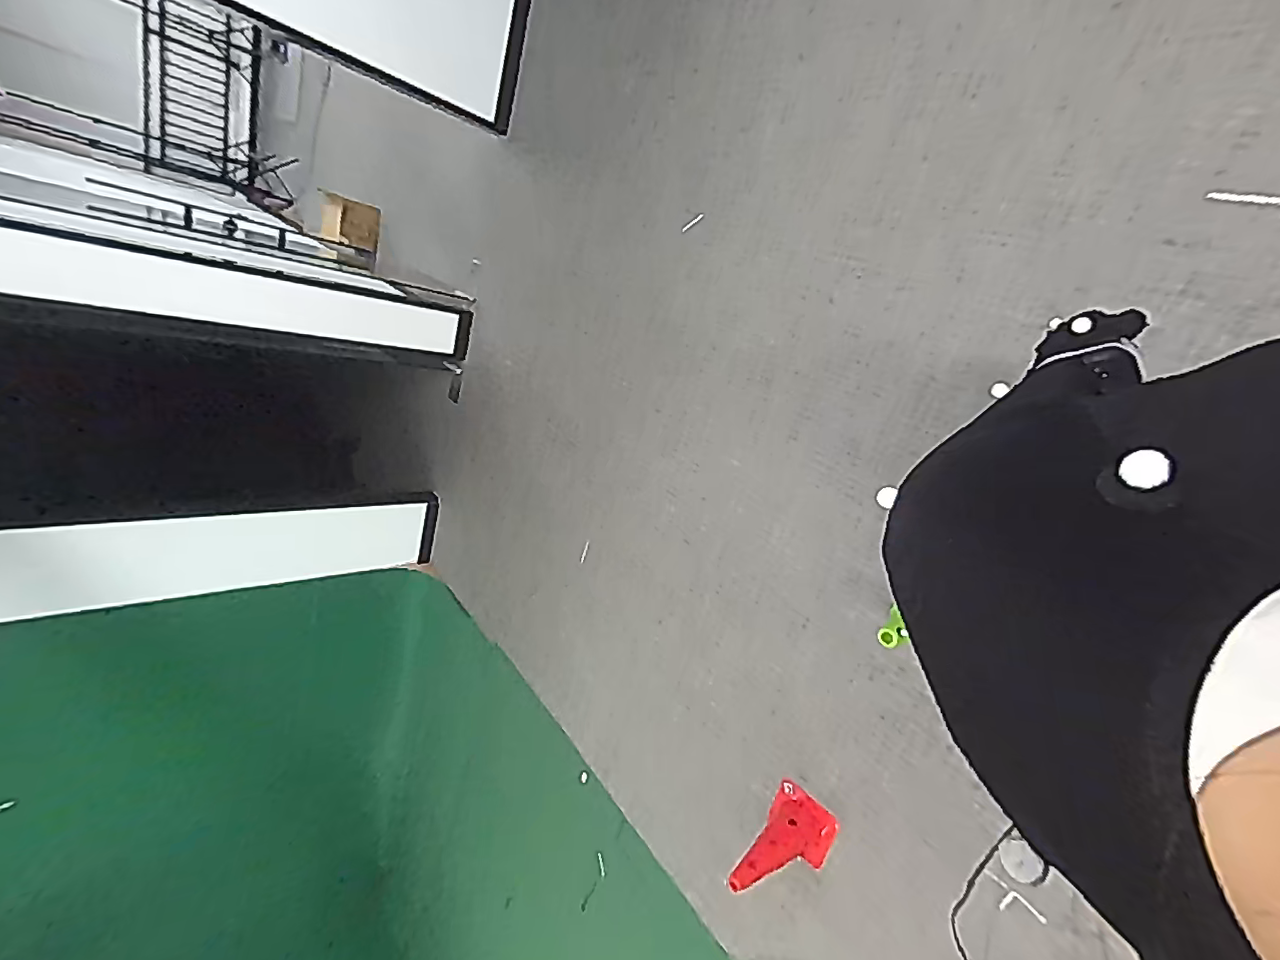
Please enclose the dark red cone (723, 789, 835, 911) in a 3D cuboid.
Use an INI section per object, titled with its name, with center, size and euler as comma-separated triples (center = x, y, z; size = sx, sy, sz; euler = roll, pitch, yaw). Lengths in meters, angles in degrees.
[dark red cone]
center = 0.369, 1.089, 1.539
size = 0.202, 0.394, 0.201
euler = 28, 112, 42
